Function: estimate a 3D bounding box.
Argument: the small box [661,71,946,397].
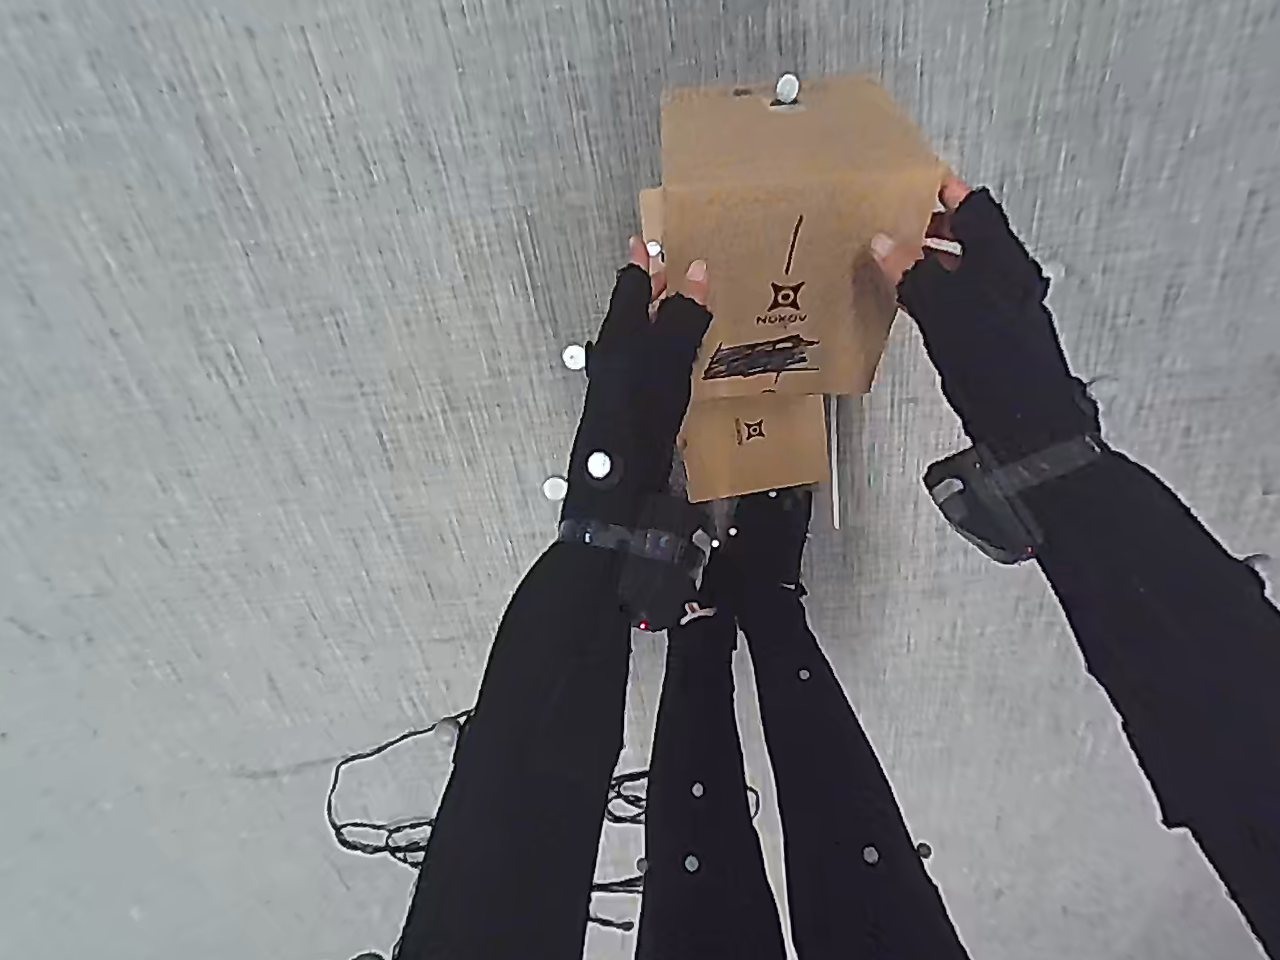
[{"bbox_3d":[0.102,-0.186,0.428,0.168,0.176,0.179,-2,144,3],"label":"small box"}]
